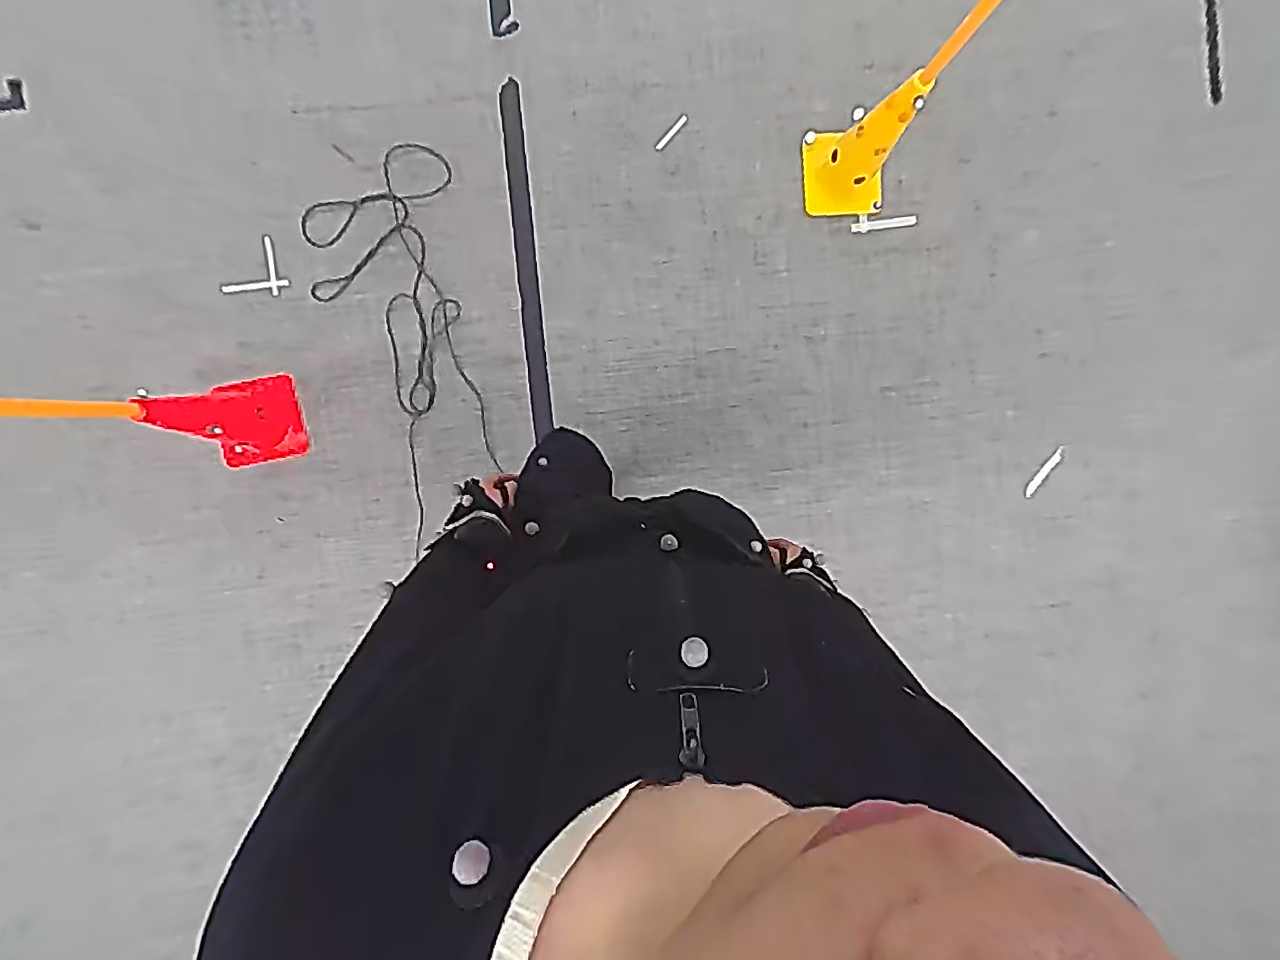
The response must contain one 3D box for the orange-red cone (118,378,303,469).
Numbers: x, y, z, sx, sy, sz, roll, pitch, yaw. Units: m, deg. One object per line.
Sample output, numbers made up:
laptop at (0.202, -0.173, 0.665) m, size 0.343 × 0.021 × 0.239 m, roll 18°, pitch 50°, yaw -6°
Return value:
orange-red cone at (-0.905, -0.126, 1.116) m, size 0.199 × 0.360 × 0.198 m, roll -11°, pitch 94°, yaw -5°
